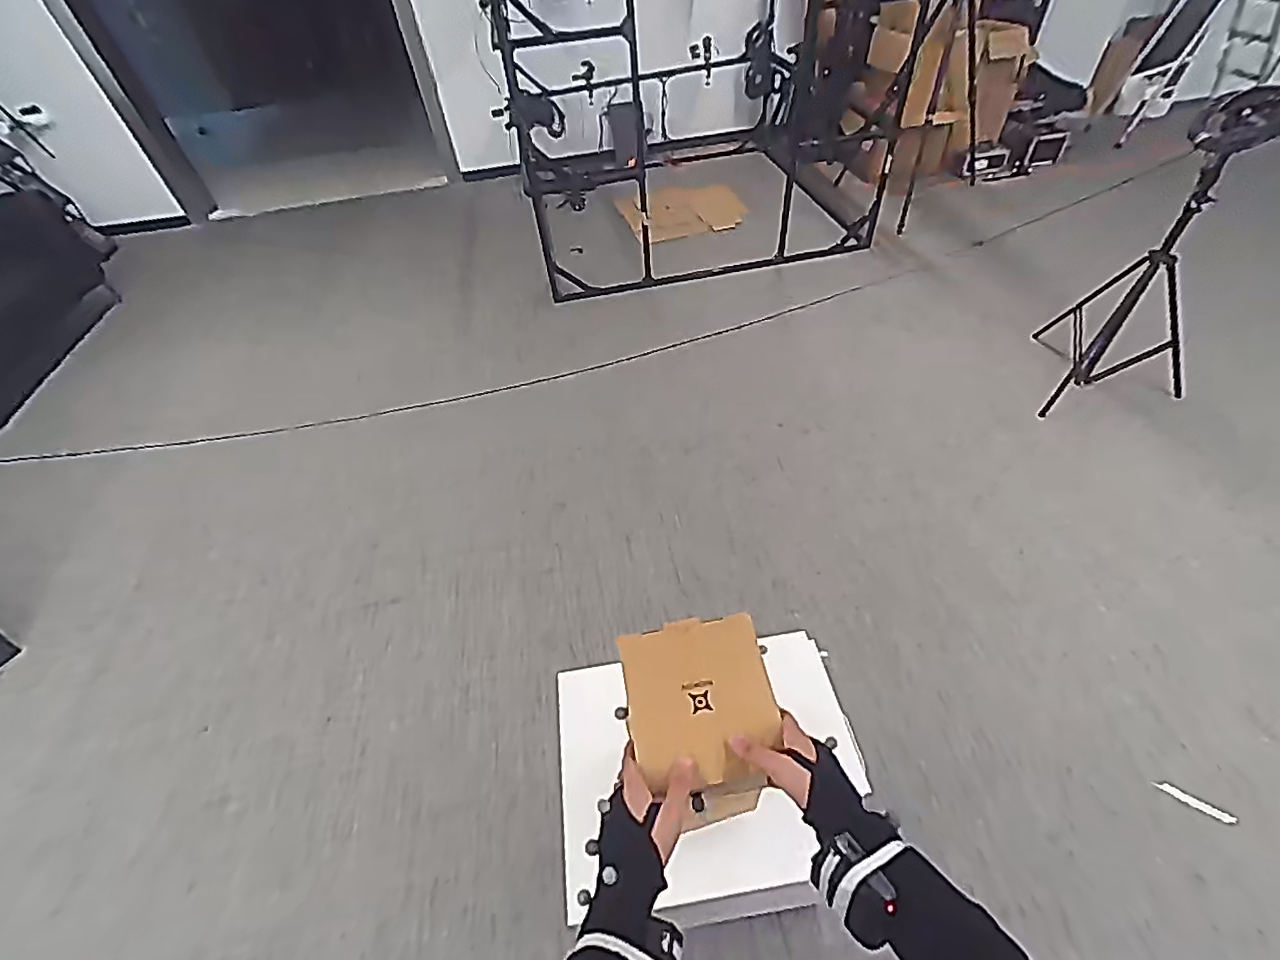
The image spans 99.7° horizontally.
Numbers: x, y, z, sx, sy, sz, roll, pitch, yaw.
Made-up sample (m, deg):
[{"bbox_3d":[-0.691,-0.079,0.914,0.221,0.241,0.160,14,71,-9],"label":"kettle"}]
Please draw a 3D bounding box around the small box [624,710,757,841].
[{"bbox_3d":[0.084,0.459,0.880,0.179,0.176,0.168,-14,47,-8],"label":"small box"}]

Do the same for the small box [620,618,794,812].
[{"bbox_3d":[0.074,0.297,0.671,0.168,0.176,0.179,-10,53,-4],"label":"small box"}]
